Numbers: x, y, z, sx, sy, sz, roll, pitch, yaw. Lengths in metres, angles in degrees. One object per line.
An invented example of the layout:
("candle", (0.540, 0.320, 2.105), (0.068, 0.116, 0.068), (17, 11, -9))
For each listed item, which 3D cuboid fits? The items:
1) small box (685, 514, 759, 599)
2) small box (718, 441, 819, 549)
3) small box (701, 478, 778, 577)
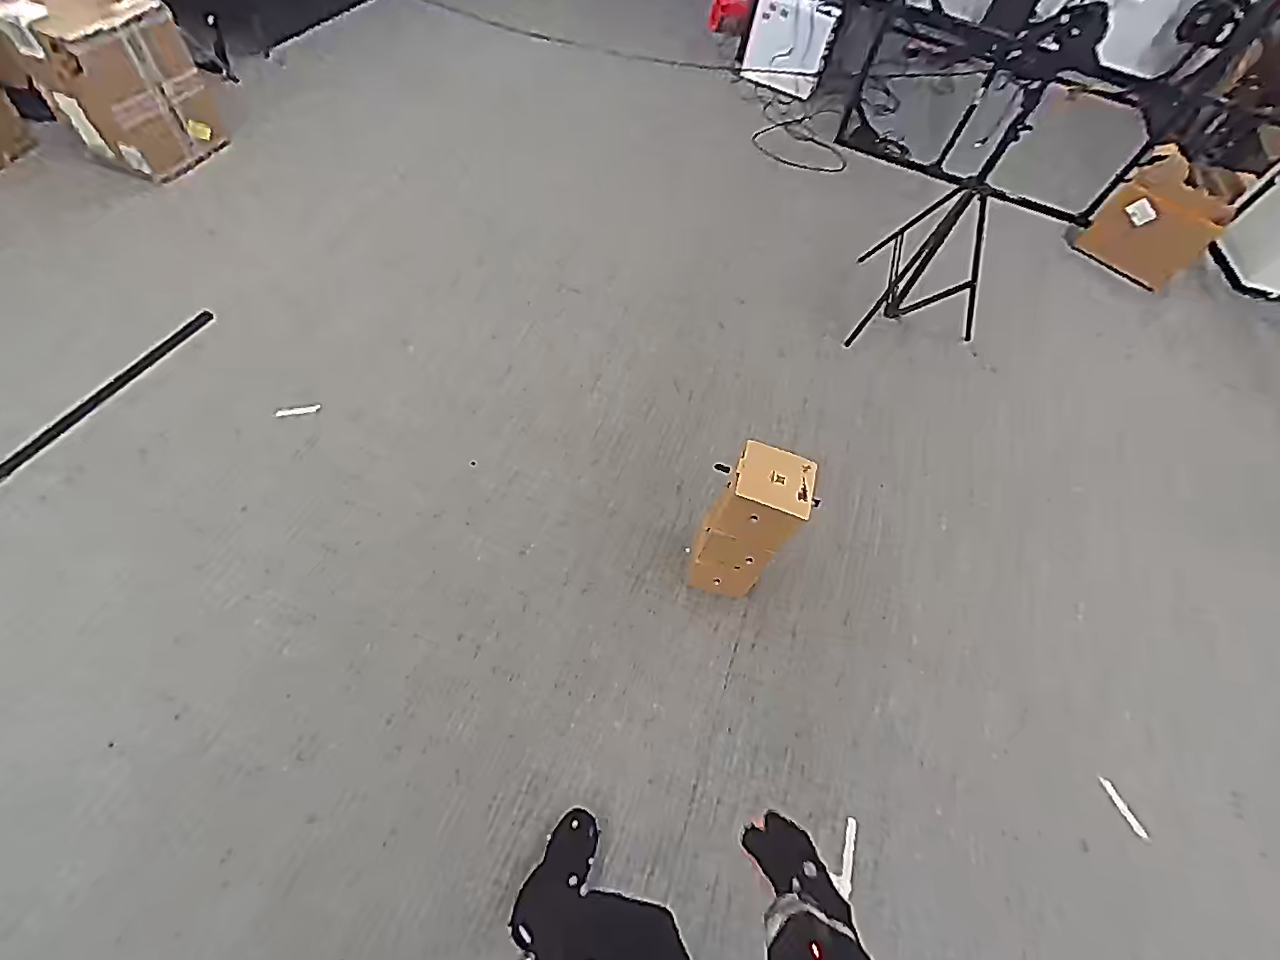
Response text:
("small box", (0.240, 0.224, 1.548), (0.179, 0.176, 0.168), (15, 57, 2))
("small box", (0.299, 0.042, 1.284), (0.179, 0.176, 0.168), (19, 58, 3))
("small box", (0.269, 0.131, 1.419), (0.168, 0.176, 0.179), (19, 56, 2))
